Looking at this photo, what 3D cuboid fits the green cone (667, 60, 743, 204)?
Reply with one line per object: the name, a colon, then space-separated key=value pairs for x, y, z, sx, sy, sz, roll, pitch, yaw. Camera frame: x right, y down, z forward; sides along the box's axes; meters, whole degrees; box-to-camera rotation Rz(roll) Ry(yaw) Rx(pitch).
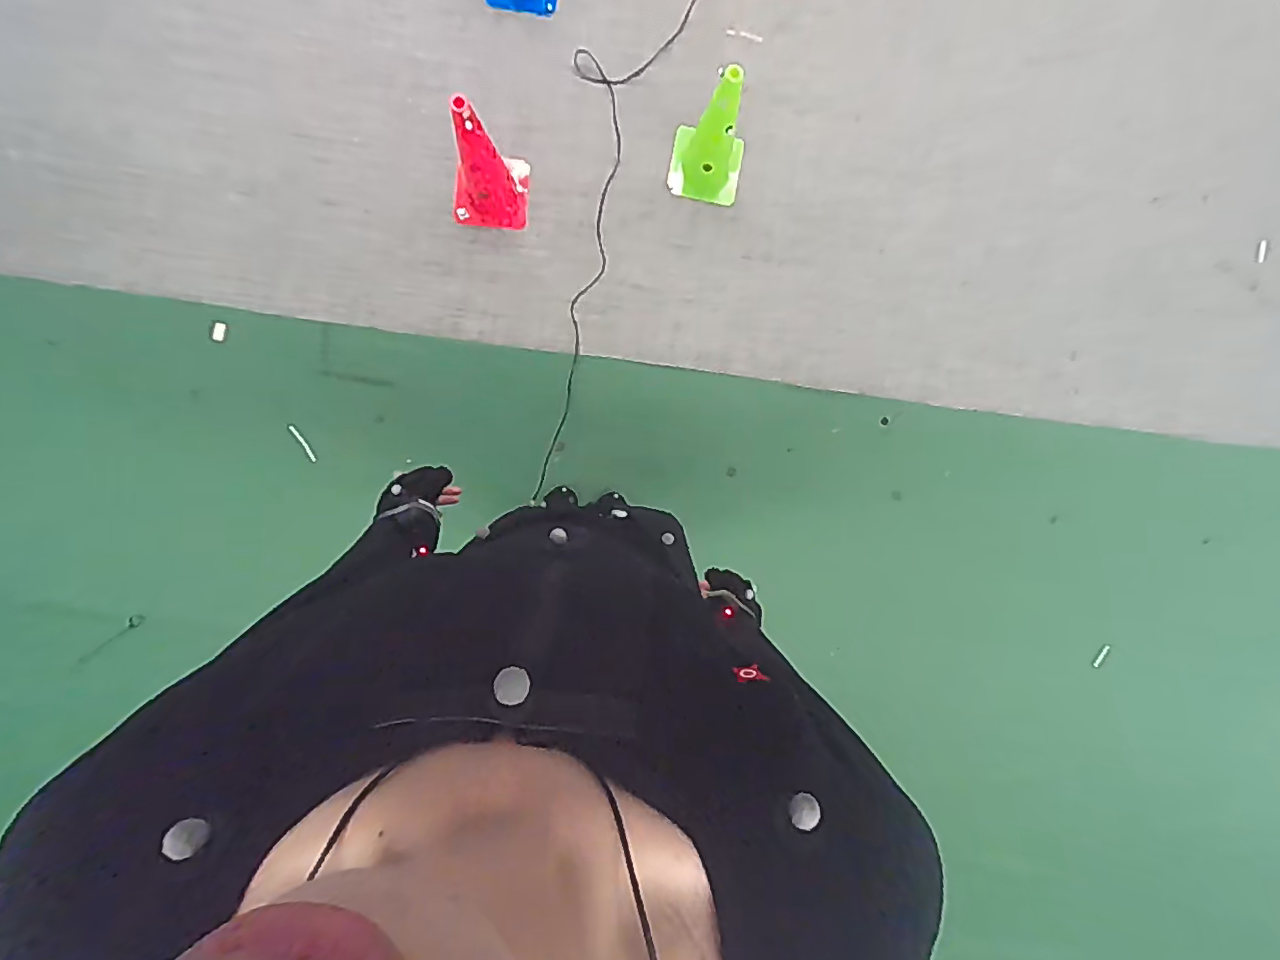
green cone: x=0.200 y=-0.905 z=1.378 sx=0.200 sy=0.368 sz=0.202 roll=10 pitch=88 yaw=-4
